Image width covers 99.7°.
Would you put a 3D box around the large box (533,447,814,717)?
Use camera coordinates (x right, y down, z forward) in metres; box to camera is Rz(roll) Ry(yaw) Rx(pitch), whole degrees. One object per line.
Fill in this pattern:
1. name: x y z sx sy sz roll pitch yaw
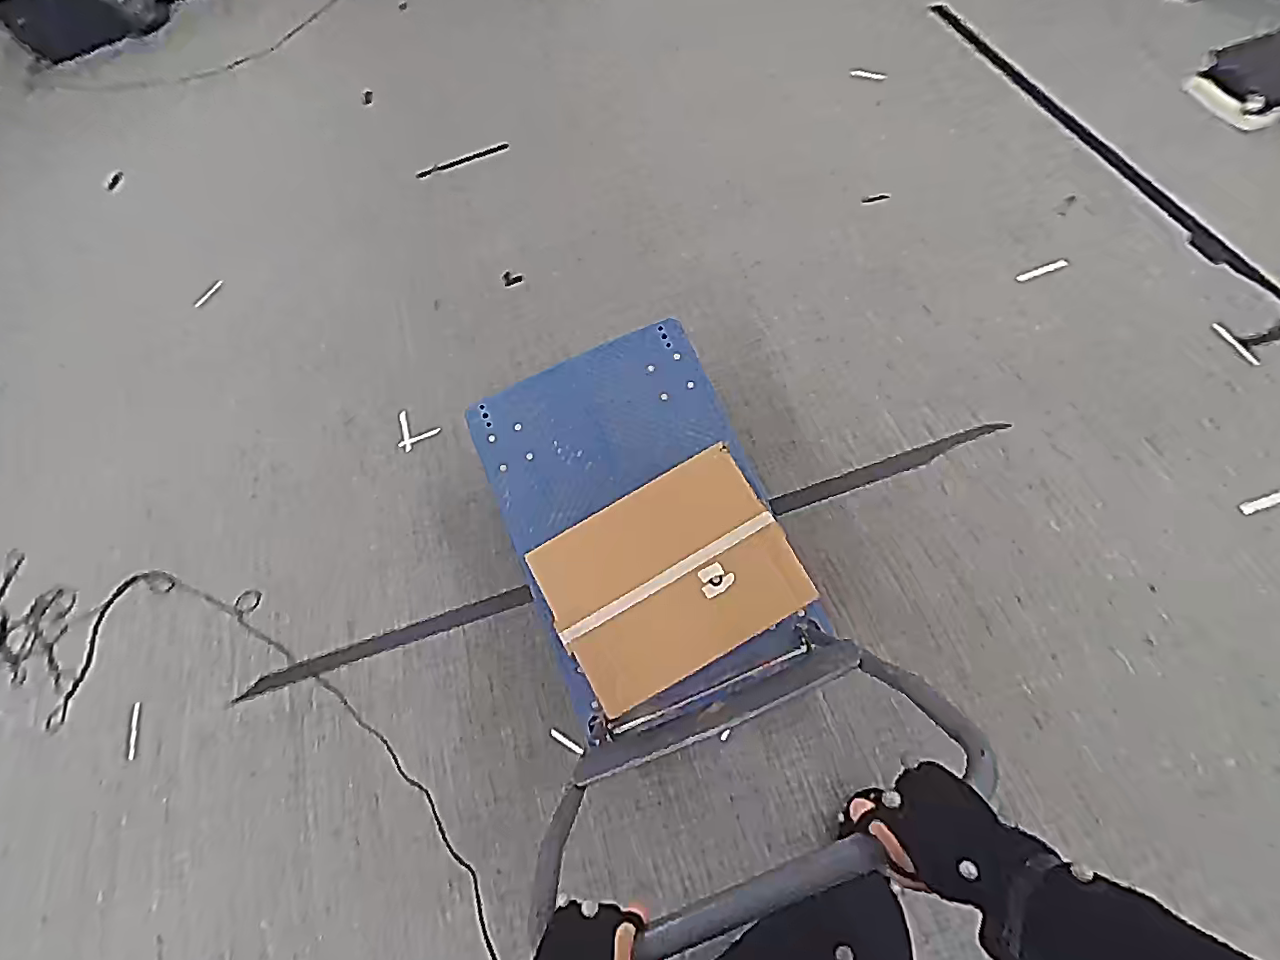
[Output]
1. large box: 0.062 0.199 1.079 0.408 0.320 0.320 -31 79 -3
